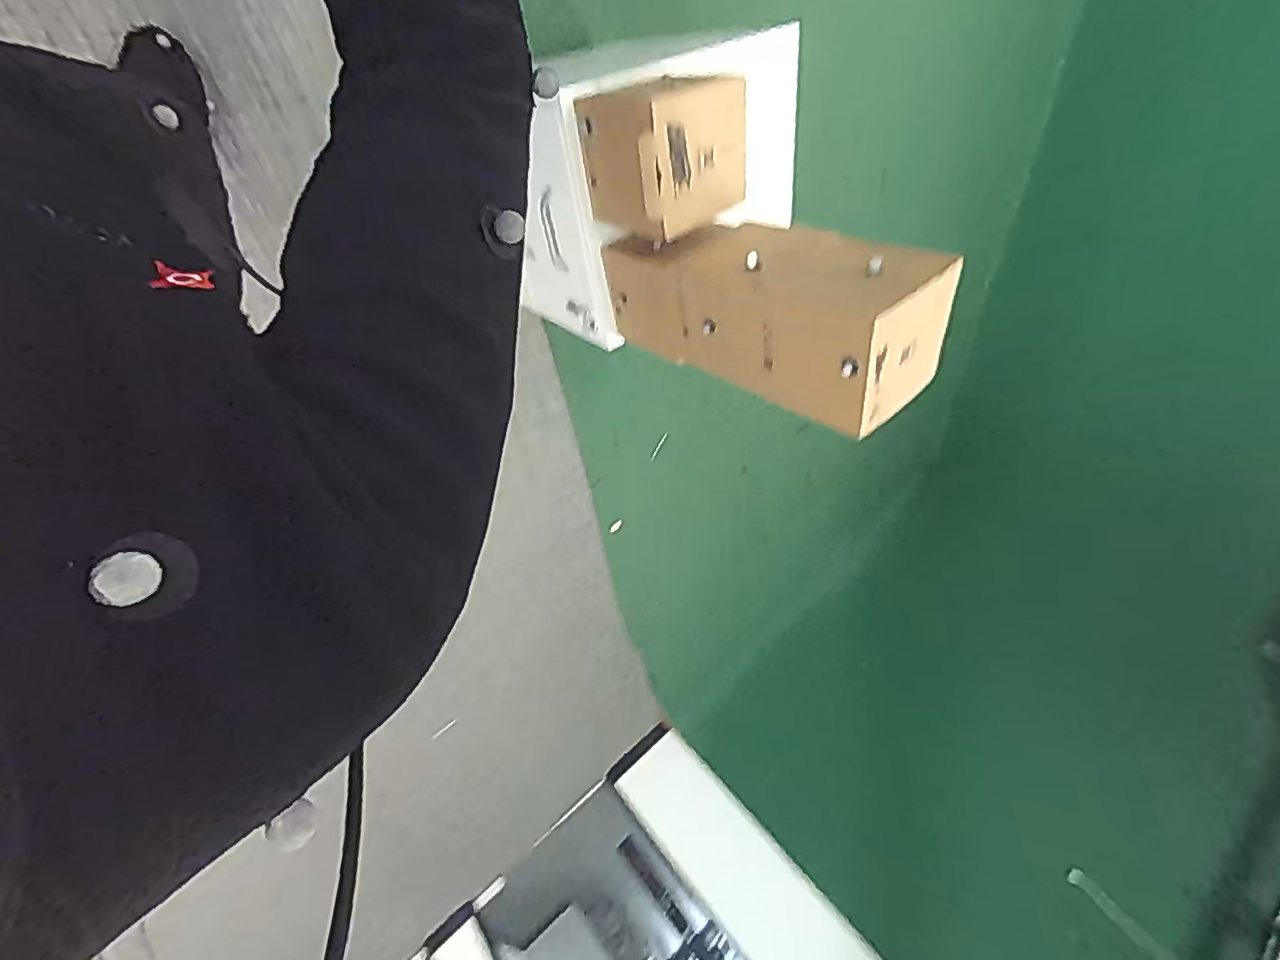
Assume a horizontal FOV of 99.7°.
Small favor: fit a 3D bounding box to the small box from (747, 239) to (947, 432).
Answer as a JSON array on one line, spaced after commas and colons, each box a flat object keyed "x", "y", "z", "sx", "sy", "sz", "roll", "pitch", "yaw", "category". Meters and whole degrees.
[{"x": 0.261, "y": -0.199, "z": 0.711, "sx": 0.179, "sy": 0.176, "sz": 0.168, "roll": -36, "pitch": 138, "yaw": -24, "category": "small box"}]

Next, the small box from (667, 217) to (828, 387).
[{"x": 0.156, "y": -0.273, "z": 0.812, "sx": 0.179, "sy": 0.176, "sz": 0.168, "roll": -37, "pitch": 138, "yaw": -21, "category": "small box"}]
